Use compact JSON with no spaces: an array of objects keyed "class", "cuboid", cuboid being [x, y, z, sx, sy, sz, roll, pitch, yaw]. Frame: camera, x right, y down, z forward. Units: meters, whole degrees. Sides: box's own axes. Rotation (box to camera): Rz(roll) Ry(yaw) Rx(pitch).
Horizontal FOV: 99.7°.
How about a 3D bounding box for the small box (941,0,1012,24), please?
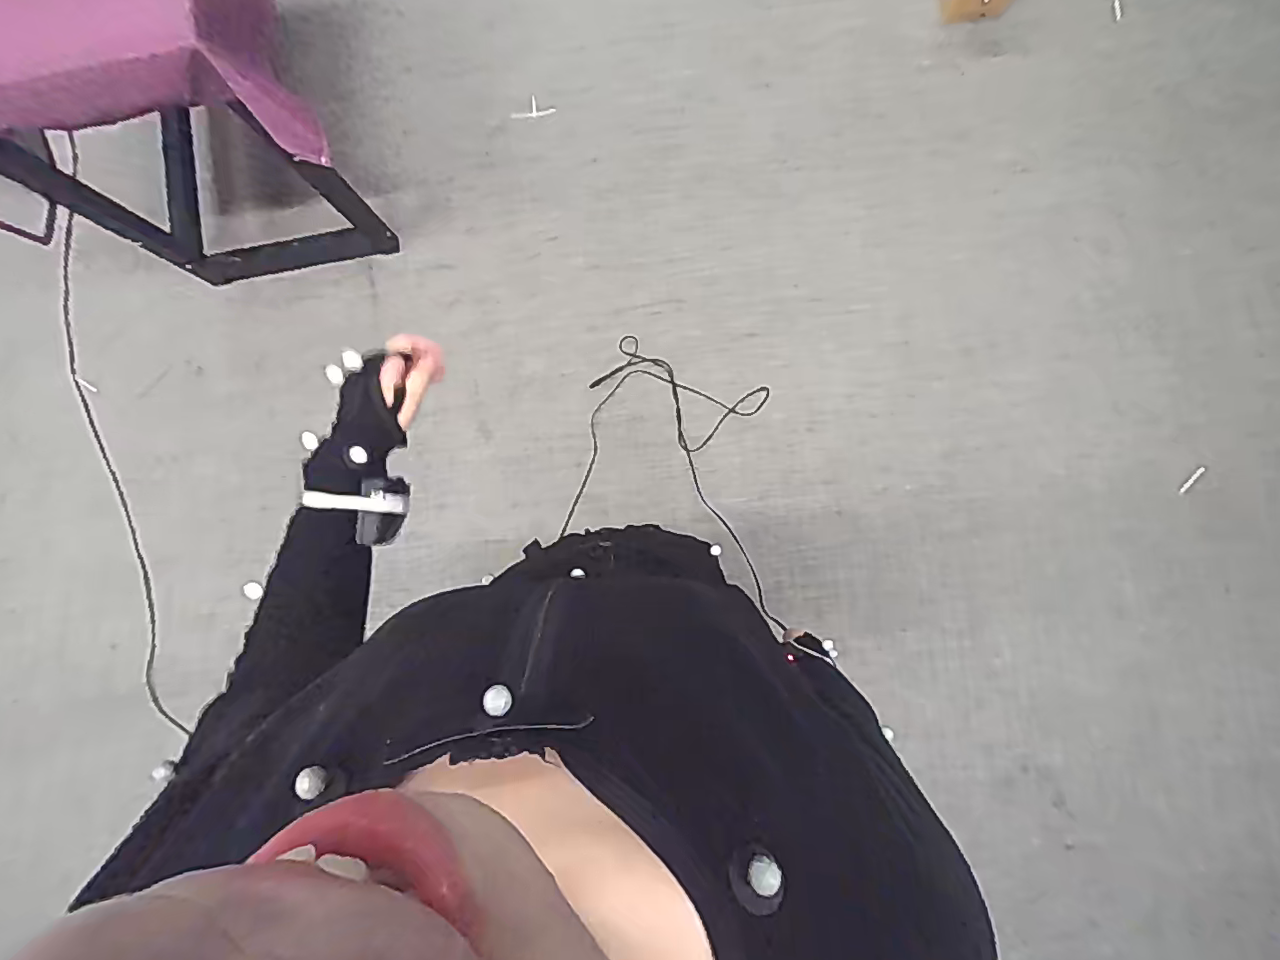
[{"class":"small box","cuboid":[0.975,-1.437,1.529,0.168,0.176,0.179,-5,85,1]}]
